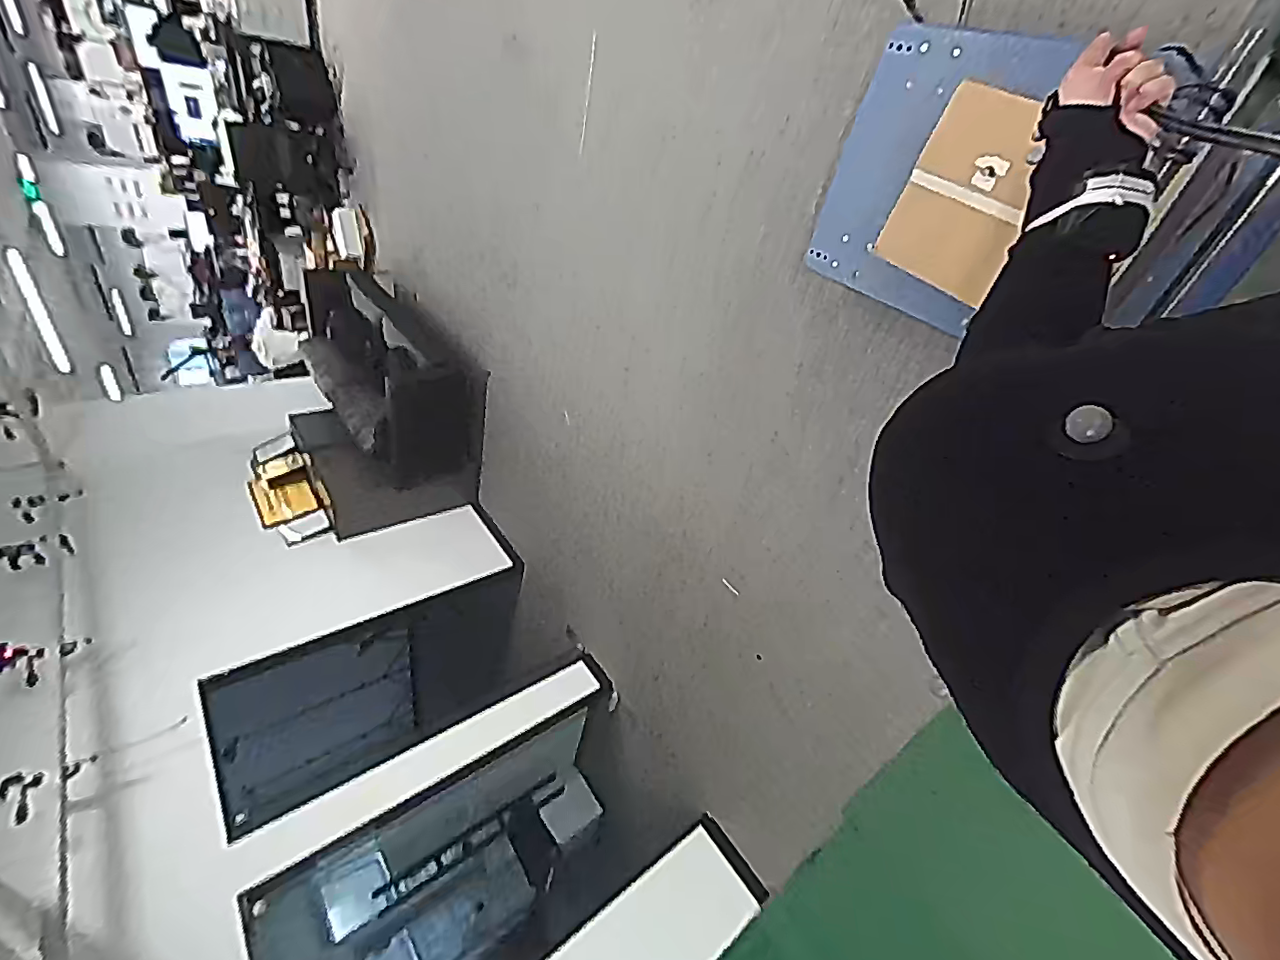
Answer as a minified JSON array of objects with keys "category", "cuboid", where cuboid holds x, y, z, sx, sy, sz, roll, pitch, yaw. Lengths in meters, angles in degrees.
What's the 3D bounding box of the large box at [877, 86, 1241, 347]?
[{"category":"large box","cuboid":[0.768,-0.498,1.034,0.408,0.320,0.320,48,136,31]}]
